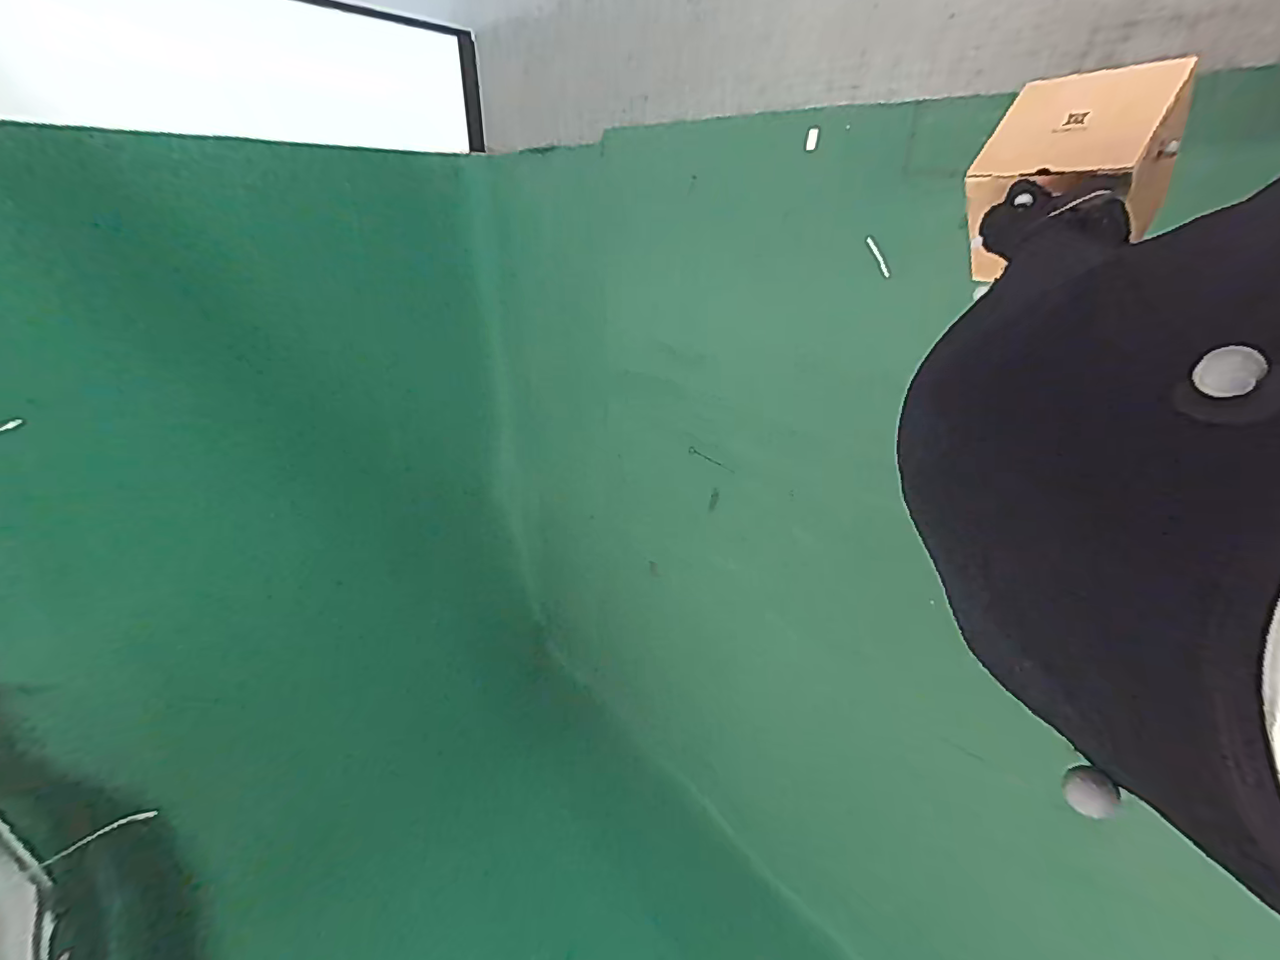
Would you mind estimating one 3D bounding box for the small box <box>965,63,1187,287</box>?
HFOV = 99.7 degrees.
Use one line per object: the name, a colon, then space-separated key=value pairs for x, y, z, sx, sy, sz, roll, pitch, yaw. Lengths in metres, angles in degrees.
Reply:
small box: x=0.547 y=-0.380 z=0.696 sx=0.168 sy=0.179 sz=0.176 roll=25 pitch=167 yaw=43
